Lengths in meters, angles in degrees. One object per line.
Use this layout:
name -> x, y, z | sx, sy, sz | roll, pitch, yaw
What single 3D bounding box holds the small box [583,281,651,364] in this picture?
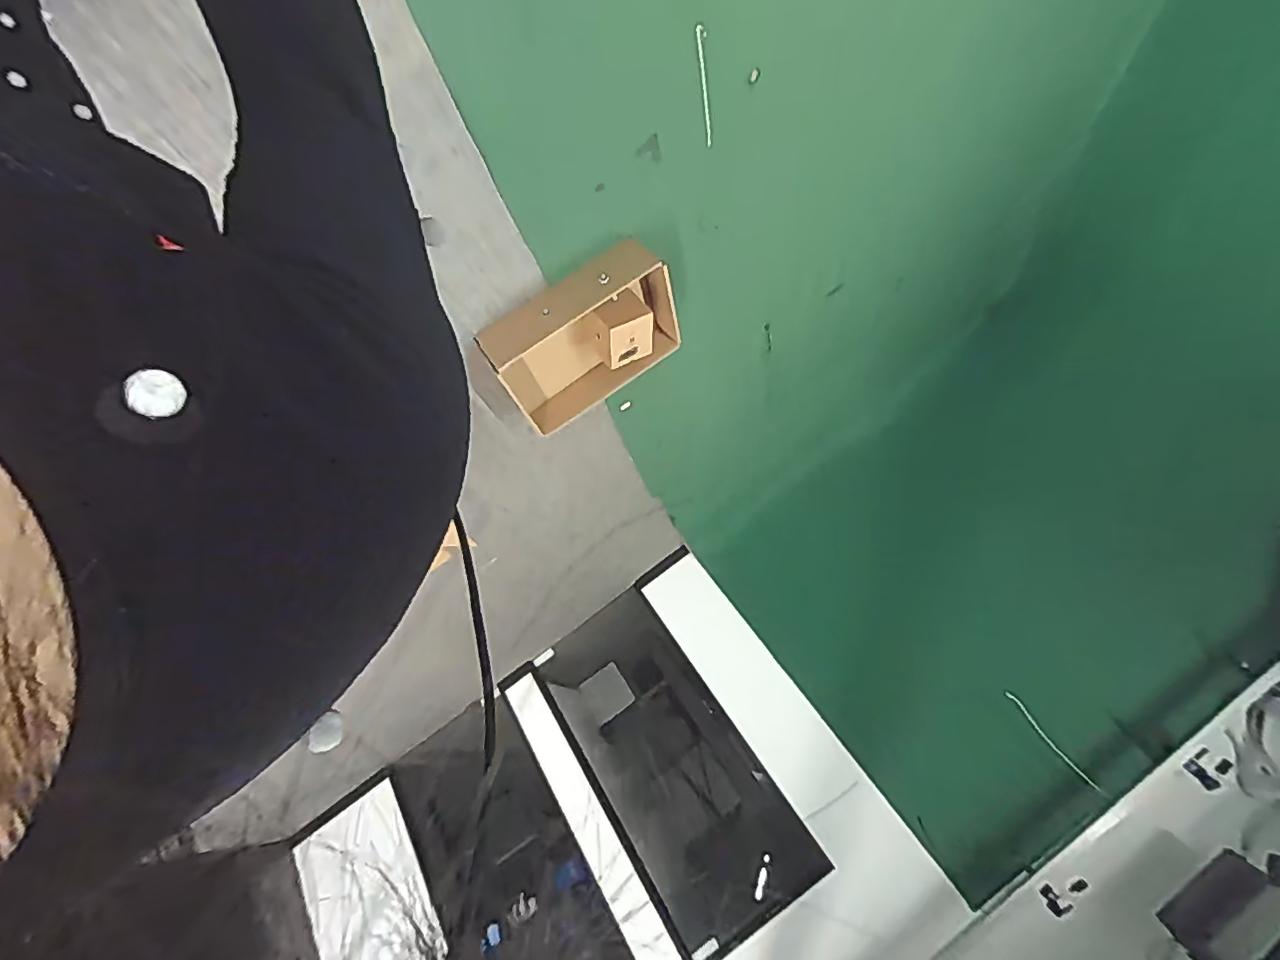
small box -> -0.080, -0.527, 1.807 | 0.168, 0.176, 0.179 | -27, 151, -19
